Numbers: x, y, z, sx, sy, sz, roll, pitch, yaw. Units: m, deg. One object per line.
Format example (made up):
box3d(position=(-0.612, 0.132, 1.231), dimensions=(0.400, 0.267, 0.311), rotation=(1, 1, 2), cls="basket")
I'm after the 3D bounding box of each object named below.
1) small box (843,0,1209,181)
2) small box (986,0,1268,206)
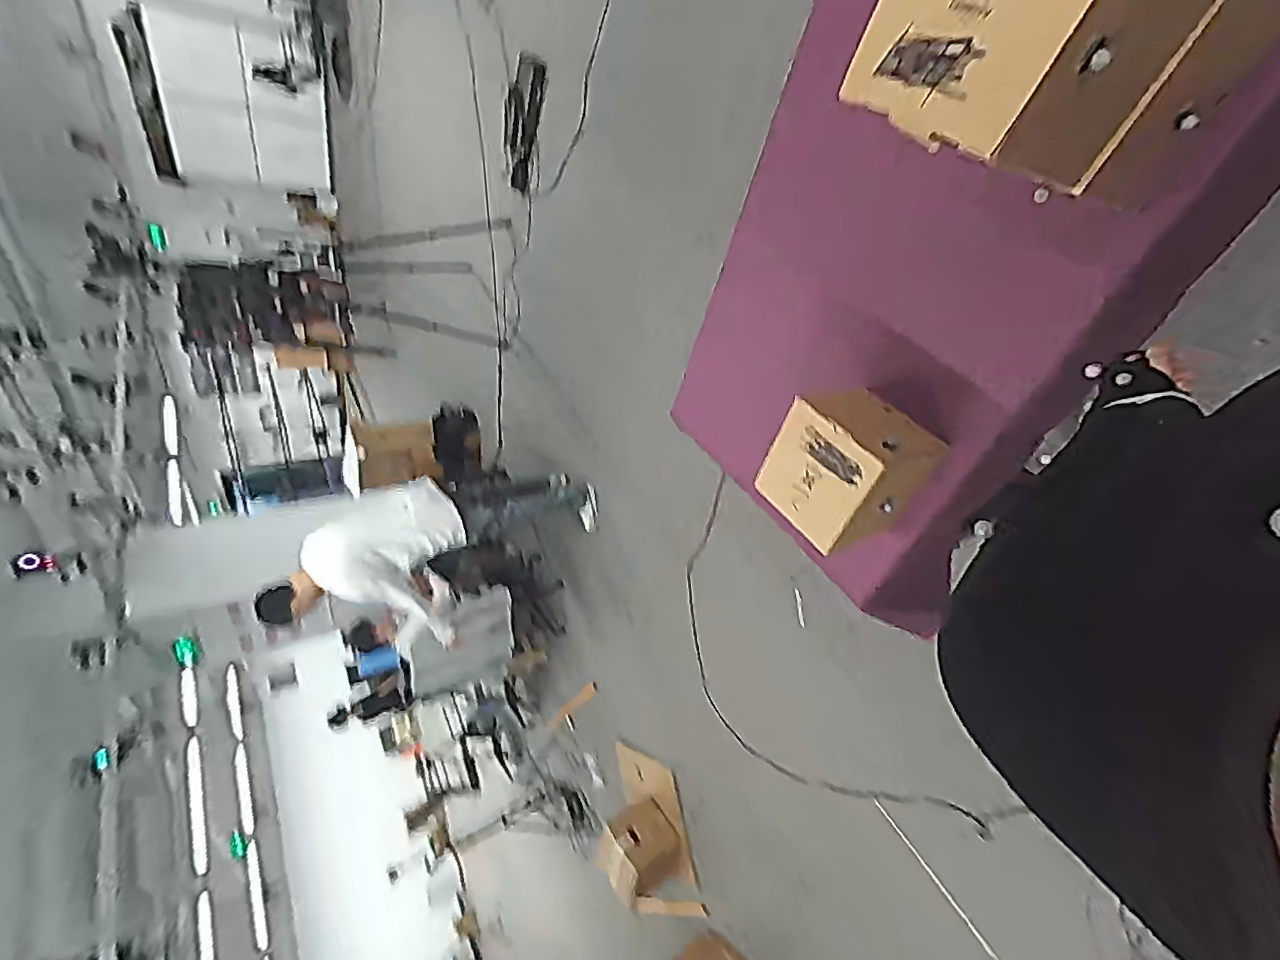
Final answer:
box3d(position=(0.315, -0.371, 0.443), dimensions=(0.168, 0.176, 0.179), rotation=(53, 138, 32), cls="small box")
box3d(position=(0.448, -0.391, 0.539), dimensions=(0.179, 0.176, 0.168), rotation=(53, 138, 33), cls="small box")
